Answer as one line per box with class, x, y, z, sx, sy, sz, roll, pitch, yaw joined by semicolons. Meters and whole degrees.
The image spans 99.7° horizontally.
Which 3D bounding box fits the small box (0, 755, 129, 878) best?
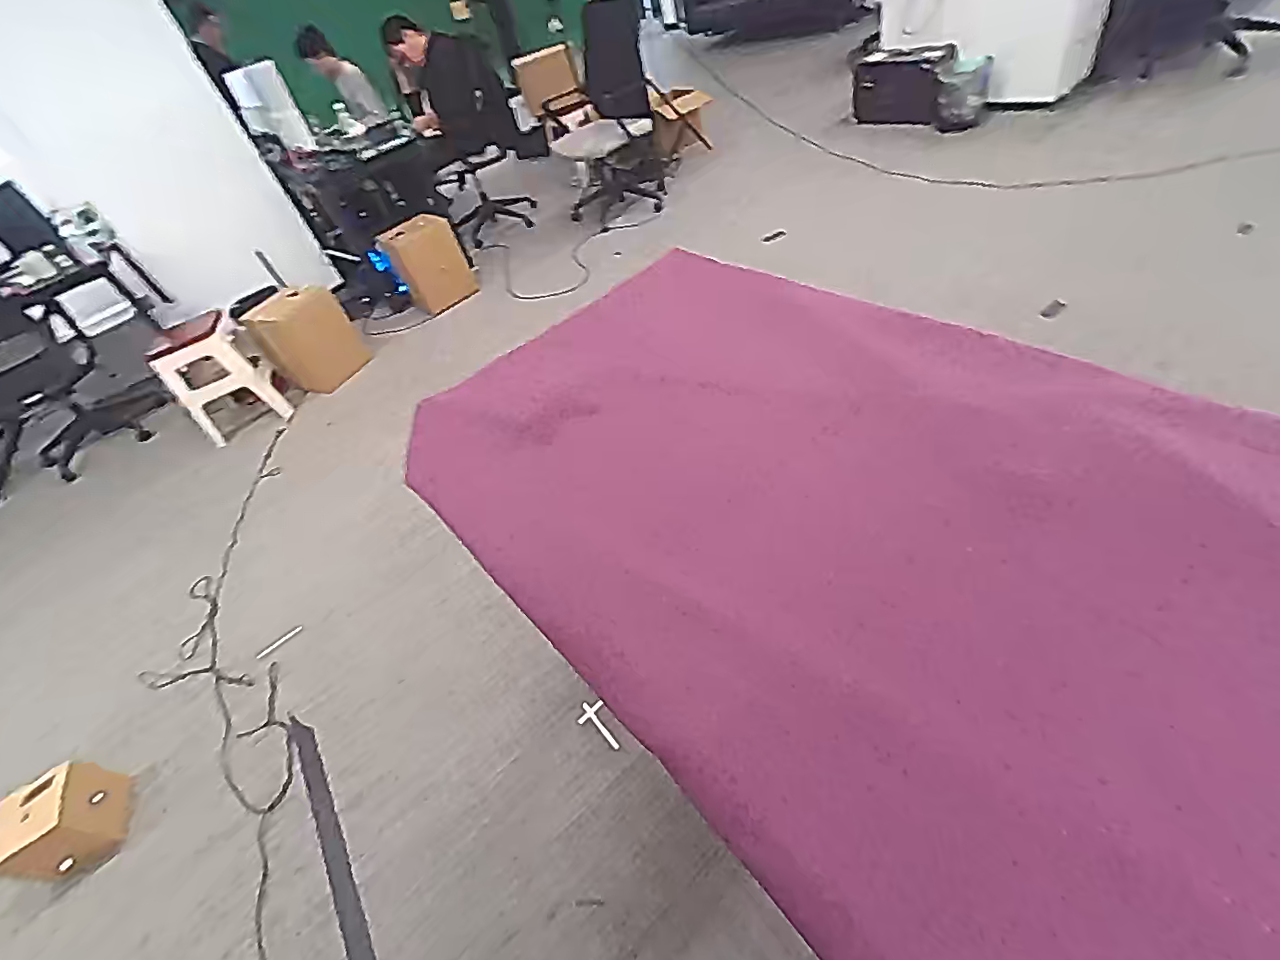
small box;-1.388;0.810;1.298;0.168;0.176;0.179;-33;47;-12
